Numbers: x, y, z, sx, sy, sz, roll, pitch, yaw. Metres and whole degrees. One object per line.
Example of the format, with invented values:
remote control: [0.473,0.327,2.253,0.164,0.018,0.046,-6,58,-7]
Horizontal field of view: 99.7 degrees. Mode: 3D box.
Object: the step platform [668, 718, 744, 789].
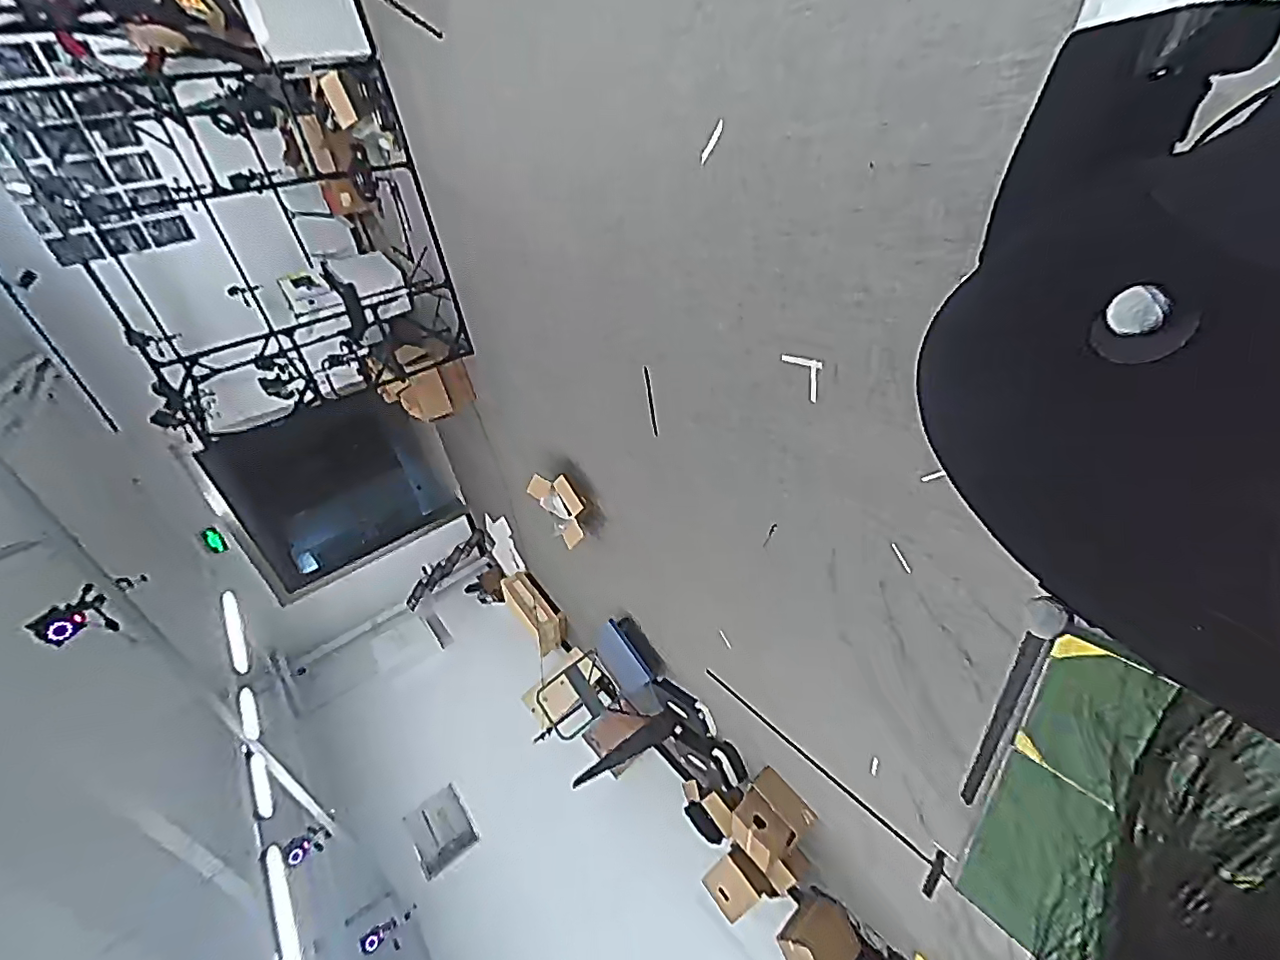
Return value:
step platform: [0.492,2.118,4.206,0.684,0.204,0.286,-11,106,60]
